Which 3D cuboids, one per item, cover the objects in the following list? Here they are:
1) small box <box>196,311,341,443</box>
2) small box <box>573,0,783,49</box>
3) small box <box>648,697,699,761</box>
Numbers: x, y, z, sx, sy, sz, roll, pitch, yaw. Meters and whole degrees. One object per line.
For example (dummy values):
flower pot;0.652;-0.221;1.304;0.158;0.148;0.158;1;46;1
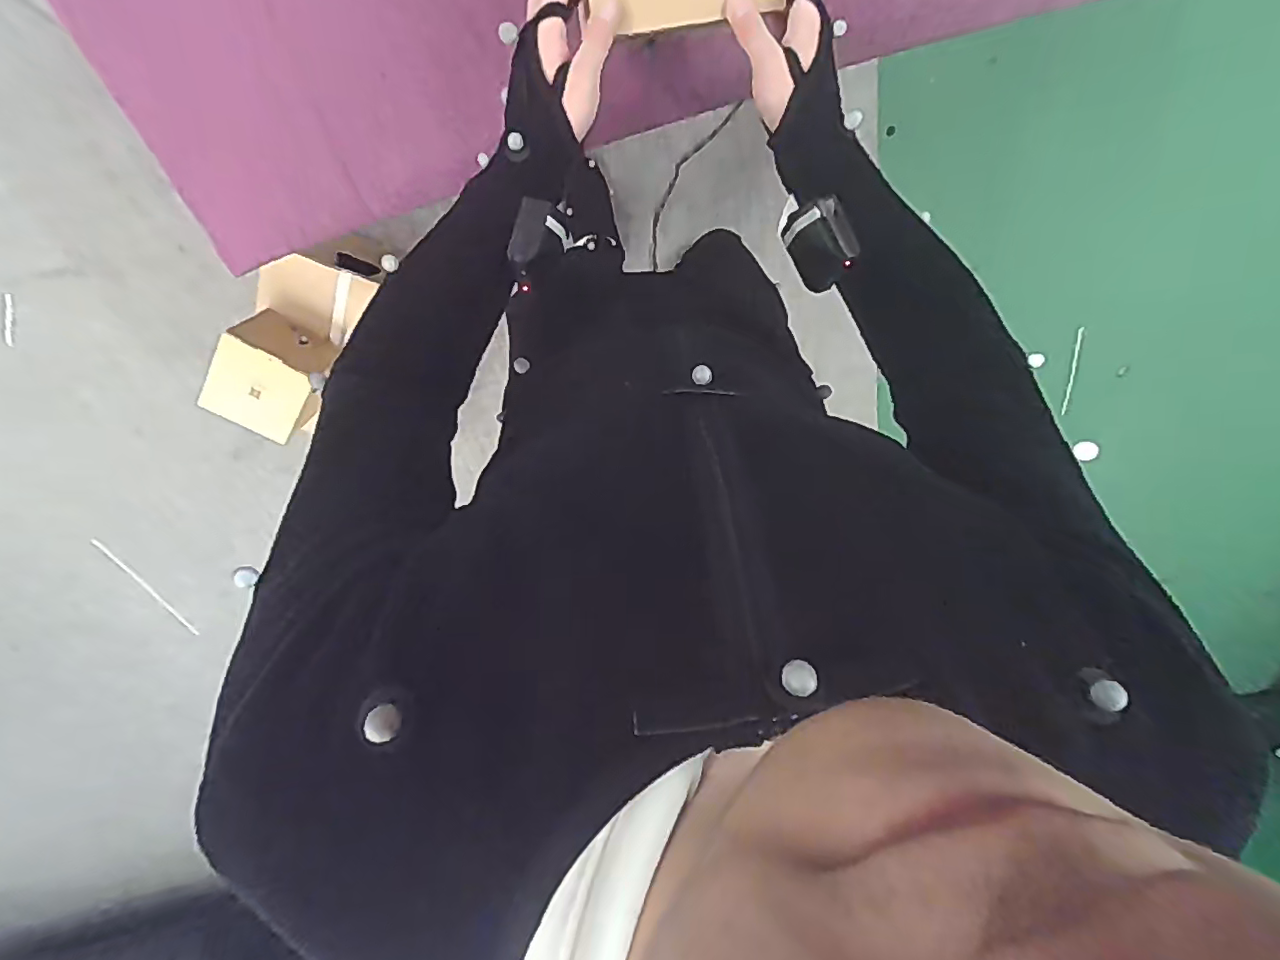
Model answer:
small box;-0.747;-0.213;1.106;0.168;0.176;0.179;30;114;-21
small box;0.017;-0.492;0.458;0.168;0.176;0.179;-10;127;-2
small box;0.139;1.074;2.339;0.179;0.176;0.168;-19;122;4
